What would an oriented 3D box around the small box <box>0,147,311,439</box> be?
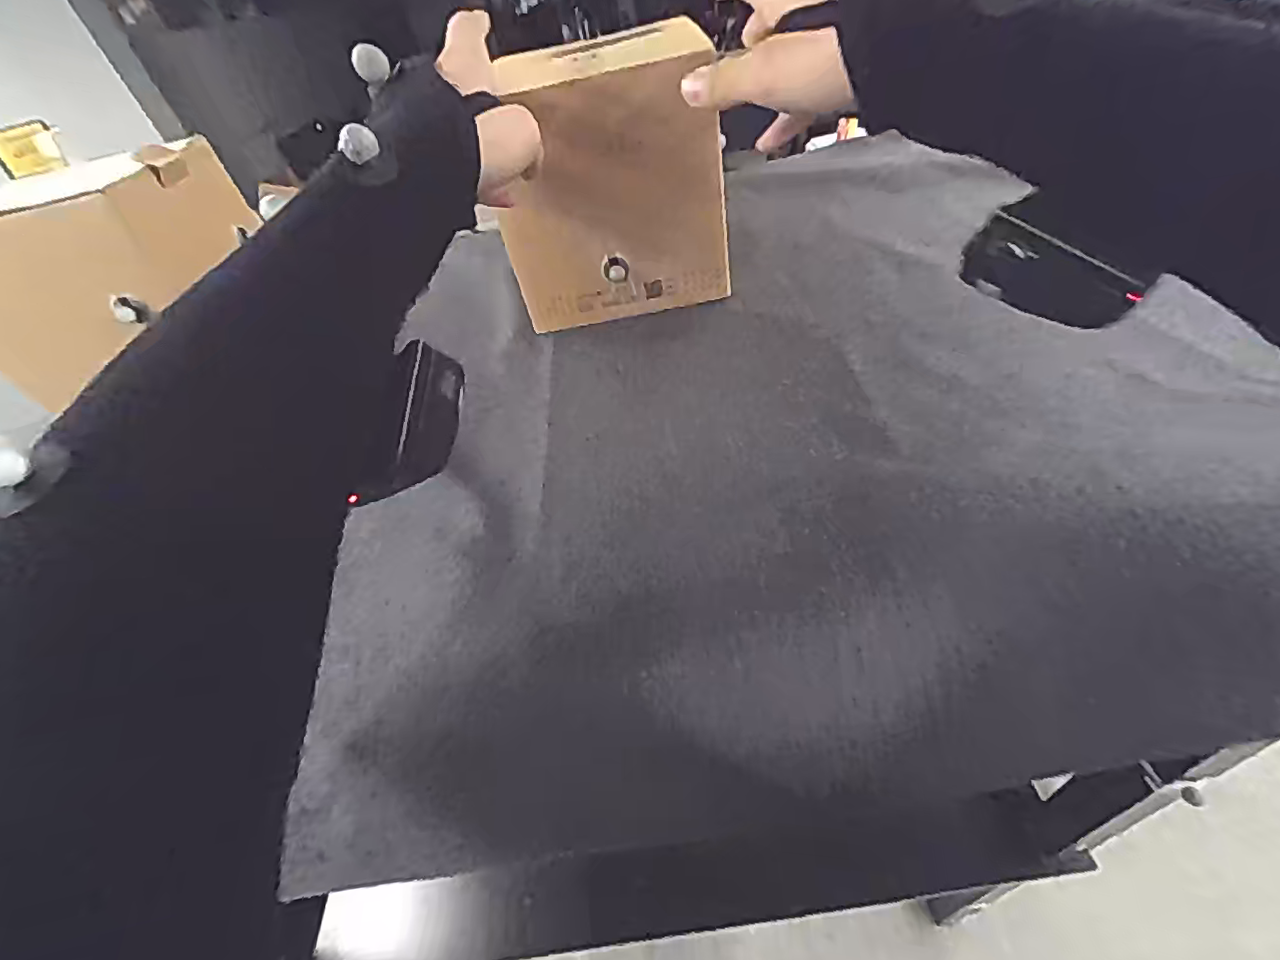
[{"bbox_3d":[-0.432,-0.161,0.474,0.179,0.176,0.168,-13,44,0],"label":"small box"}]
